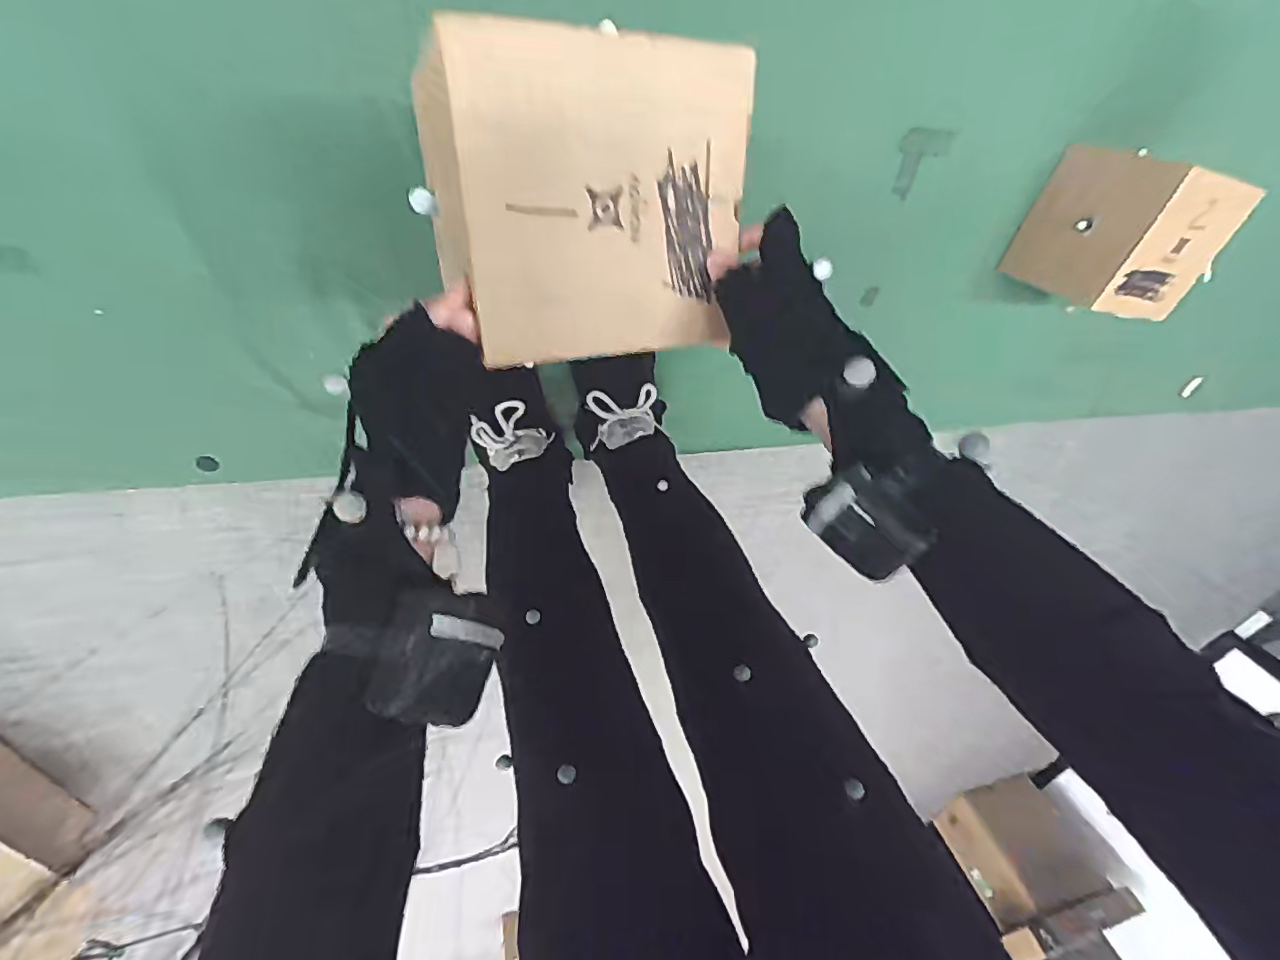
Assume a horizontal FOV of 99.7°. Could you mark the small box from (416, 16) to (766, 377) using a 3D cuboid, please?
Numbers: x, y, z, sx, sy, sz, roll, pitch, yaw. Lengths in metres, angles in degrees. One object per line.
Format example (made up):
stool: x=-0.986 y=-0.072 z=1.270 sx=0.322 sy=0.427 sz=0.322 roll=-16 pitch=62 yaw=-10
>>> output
small box: x=-0.043 y=-0.179 z=0.368 sx=0.179 sy=0.176 sz=0.168 roll=-11 pitch=119 yaw=-21

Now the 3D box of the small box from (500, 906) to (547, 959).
small box: x=-0.484 y=1.906 z=2.234 sx=0.179 sy=0.176 sz=0.168 roll=-6 pitch=130 yaw=-17
